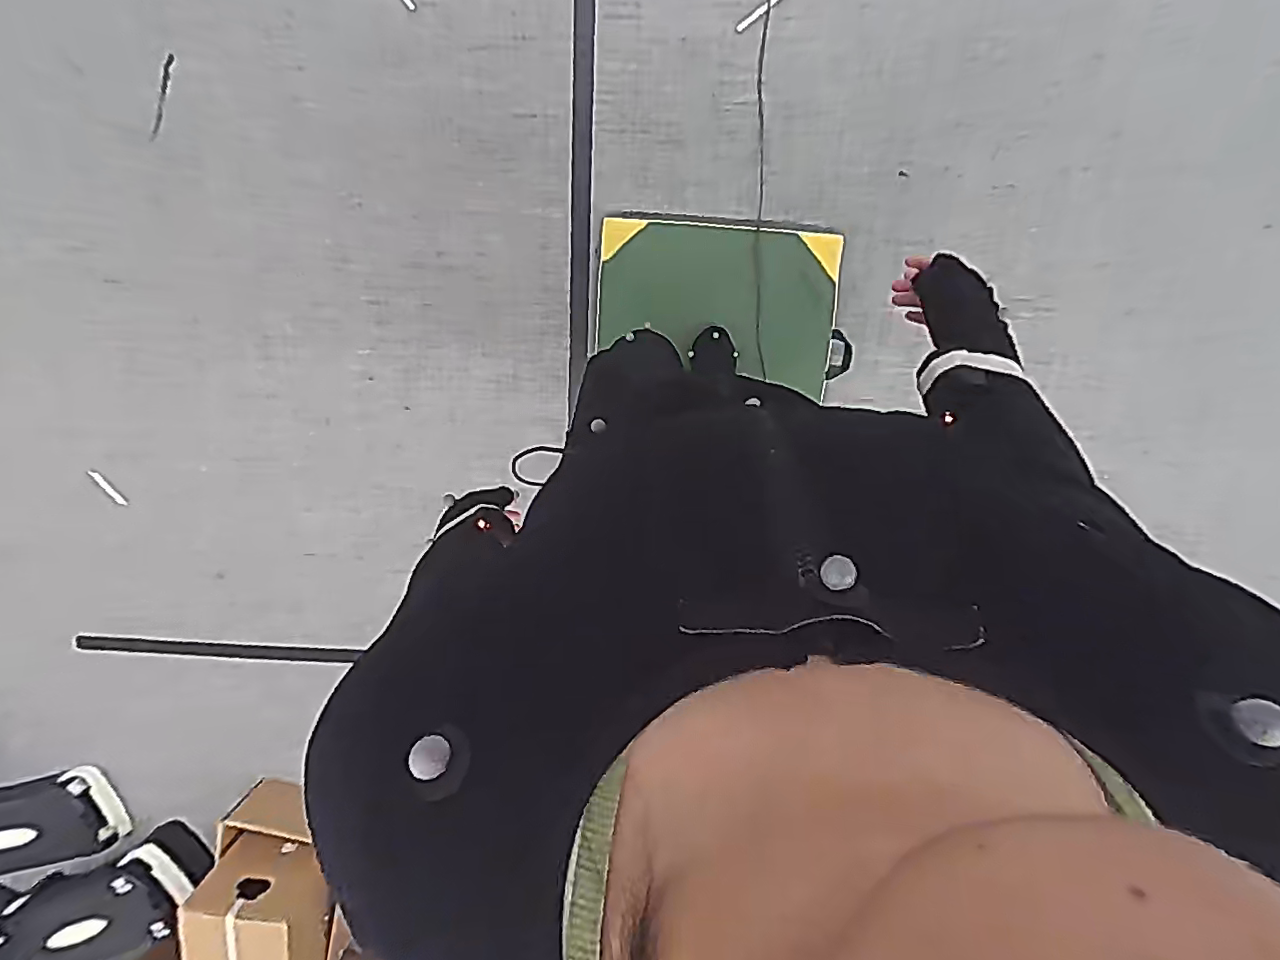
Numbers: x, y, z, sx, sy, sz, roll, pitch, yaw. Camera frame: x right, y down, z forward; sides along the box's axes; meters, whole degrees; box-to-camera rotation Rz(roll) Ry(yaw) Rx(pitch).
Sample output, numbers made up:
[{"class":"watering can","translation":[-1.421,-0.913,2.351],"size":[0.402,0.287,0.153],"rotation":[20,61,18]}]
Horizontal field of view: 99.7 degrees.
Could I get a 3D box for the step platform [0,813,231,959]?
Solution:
[{"class":"step platform","translation":[-1.812,1.430,1.868],"size":[0.684,0.204,0.286],"rotation":[-26,101,7]}]
